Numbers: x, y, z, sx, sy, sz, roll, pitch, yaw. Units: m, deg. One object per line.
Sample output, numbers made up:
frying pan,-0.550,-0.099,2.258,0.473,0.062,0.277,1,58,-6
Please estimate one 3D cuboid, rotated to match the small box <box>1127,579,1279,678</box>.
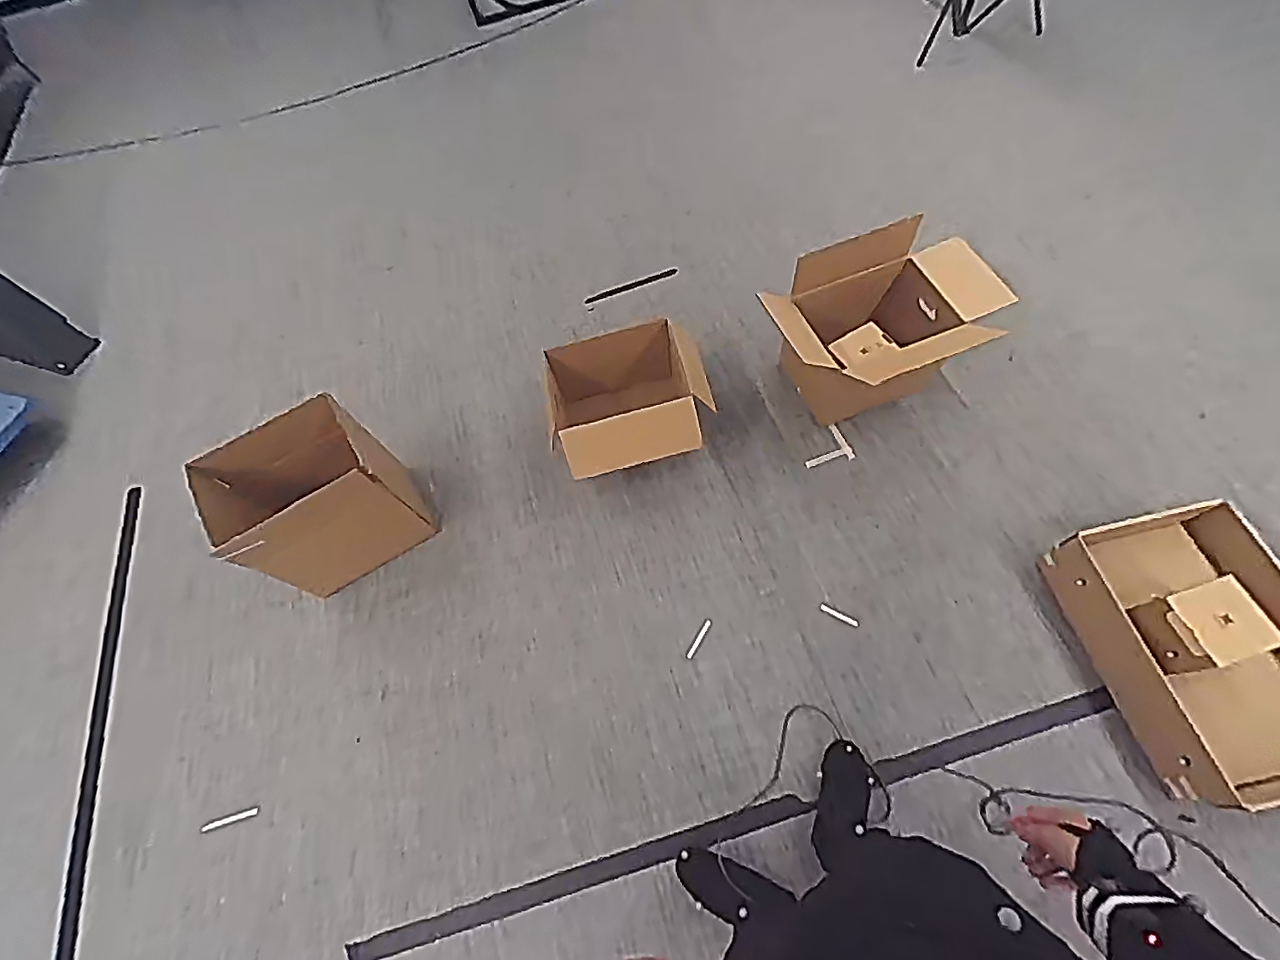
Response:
small box,1.316,0.357,1.276,0.179,0.176,0.168,-18,64,-2
